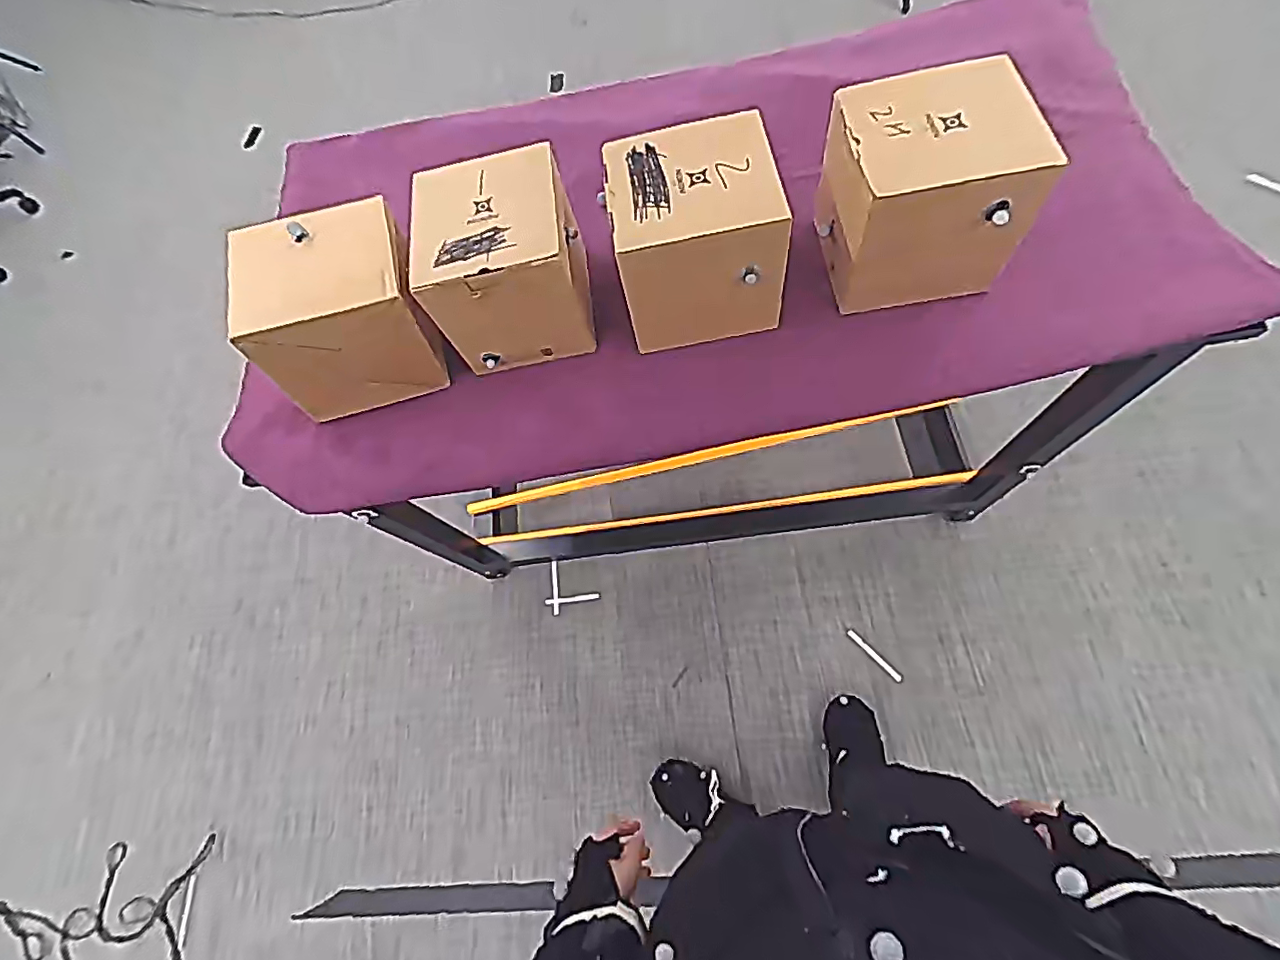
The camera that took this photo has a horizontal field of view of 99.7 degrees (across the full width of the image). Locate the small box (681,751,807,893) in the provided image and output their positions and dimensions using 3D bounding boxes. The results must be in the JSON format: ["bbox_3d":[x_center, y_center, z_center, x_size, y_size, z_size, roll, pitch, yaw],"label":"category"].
[{"bbox_3d":[0.193,0.643,1.030,0.168,0.176,0.179,39,75,23],"label":"small box"}]
